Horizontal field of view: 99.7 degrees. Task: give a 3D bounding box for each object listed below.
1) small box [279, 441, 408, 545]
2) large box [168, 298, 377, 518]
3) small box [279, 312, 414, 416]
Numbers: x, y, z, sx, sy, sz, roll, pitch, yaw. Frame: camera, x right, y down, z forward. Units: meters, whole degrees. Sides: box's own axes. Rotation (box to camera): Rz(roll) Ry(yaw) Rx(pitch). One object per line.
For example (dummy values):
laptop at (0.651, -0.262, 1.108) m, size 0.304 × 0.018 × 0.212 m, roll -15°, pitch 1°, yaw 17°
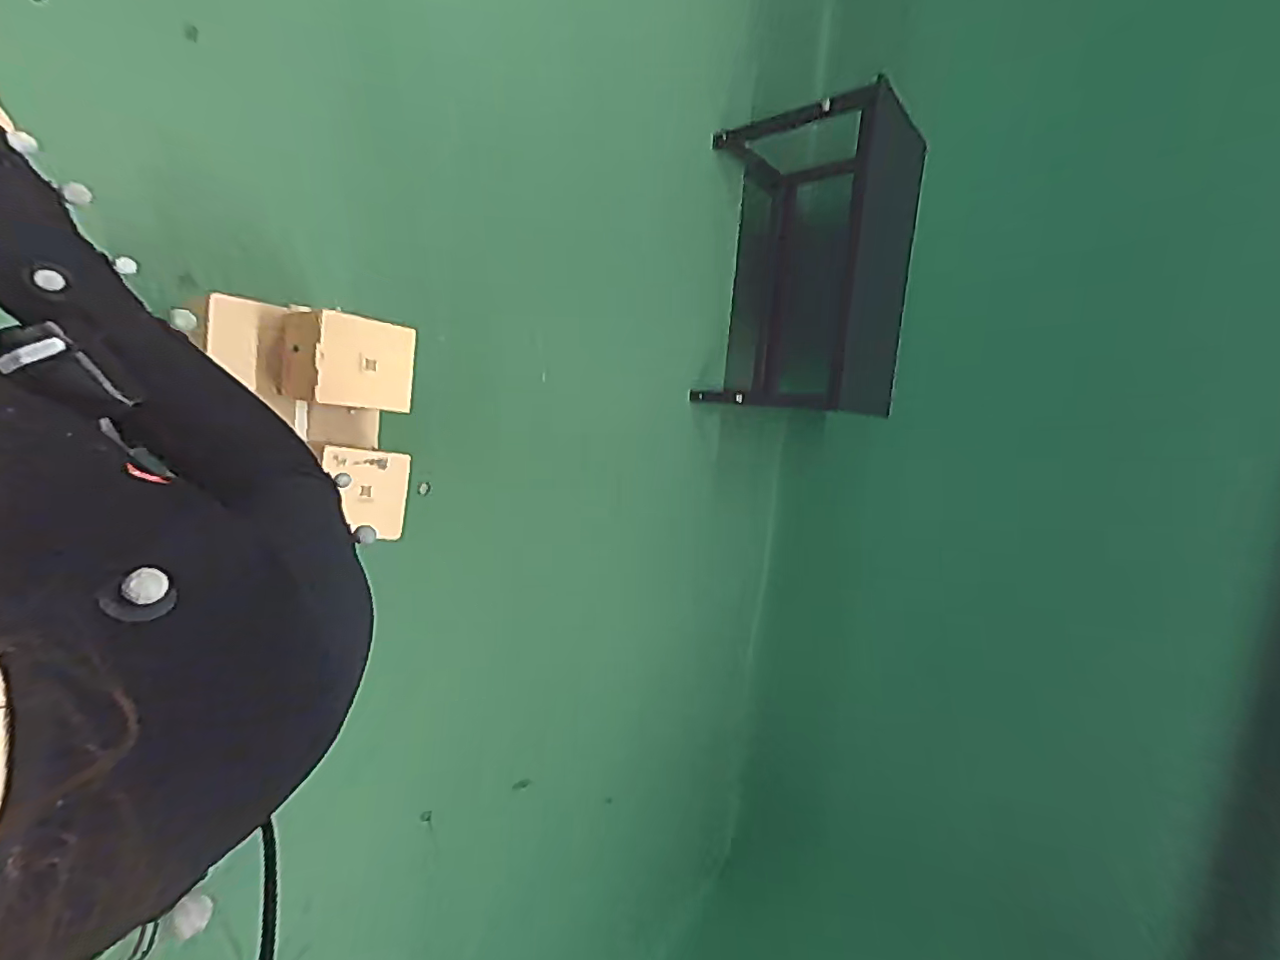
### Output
small box at (-0.591, 0.025, 1.074) m, size 0.168 × 0.176 × 0.179 m, roll 8°, pitch 92°, yaw -51°
large box at (-0.797, -0.151, 1.176) m, size 0.320 × 0.320 × 0.408 m, roll 0°, pitch 98°, yaw -49°
small box at (-0.569, -0.222, 1.050) m, size 0.179 × 0.176 × 0.168 m, roll 1°, pitch 98°, yaw -50°
